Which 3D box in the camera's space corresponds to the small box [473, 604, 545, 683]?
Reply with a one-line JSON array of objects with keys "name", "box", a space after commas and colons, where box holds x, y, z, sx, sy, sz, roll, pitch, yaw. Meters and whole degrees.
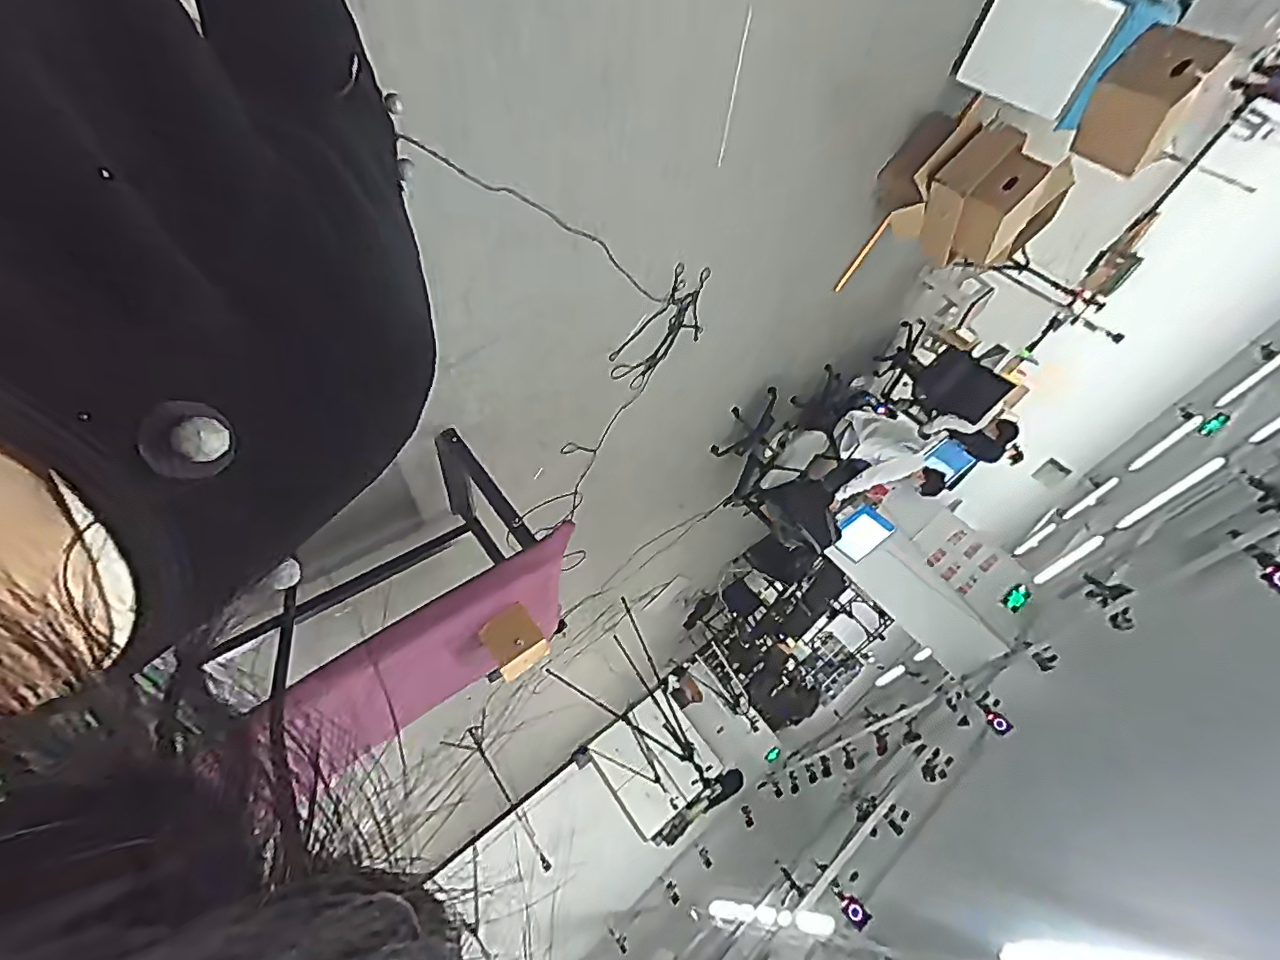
[{"name": "small box", "box": [-0.447, 0.556, 1.852, 0.179, 0.176, 0.168, -31, 152, -24]}]
